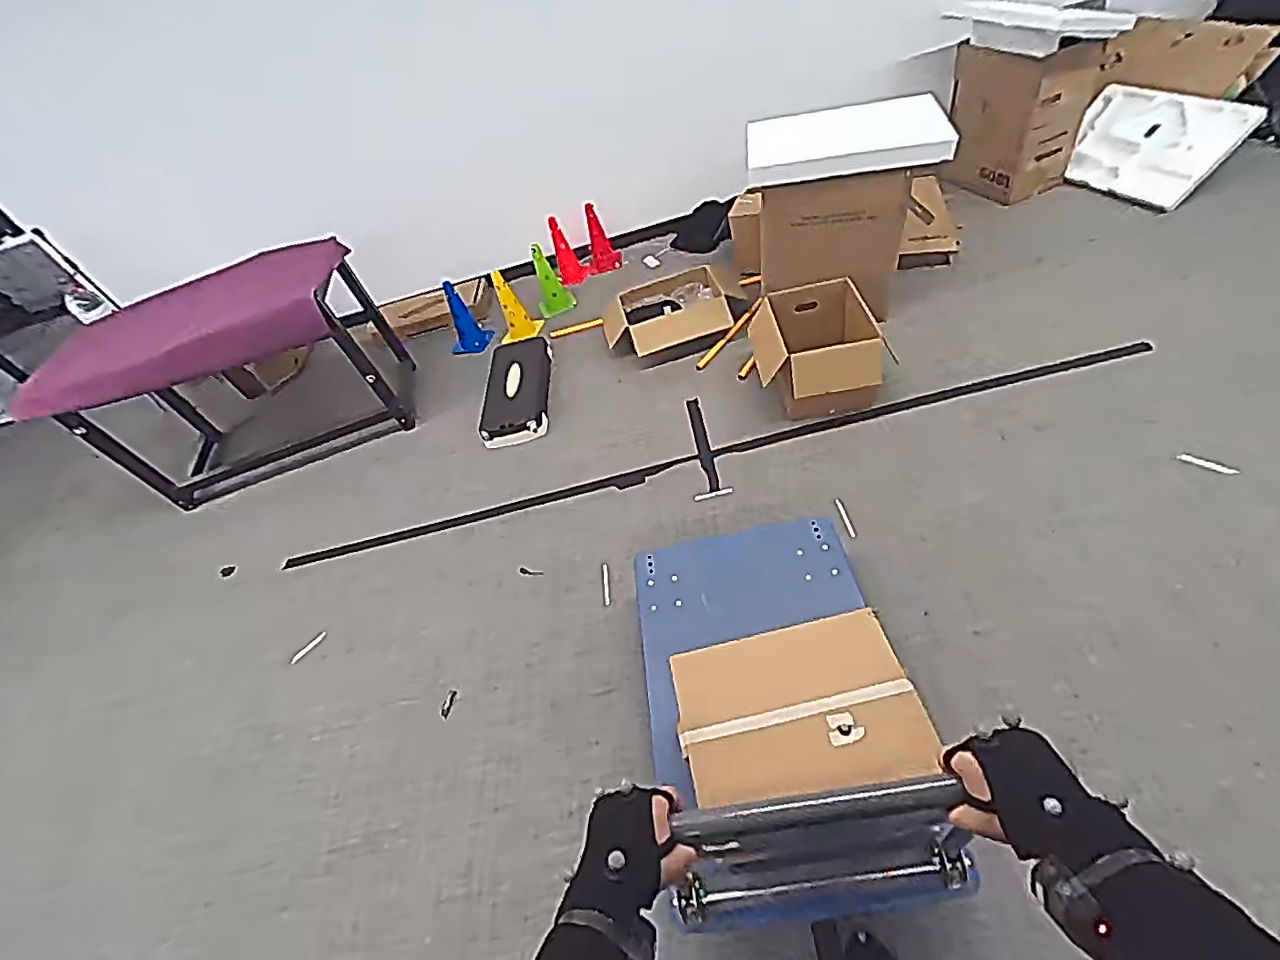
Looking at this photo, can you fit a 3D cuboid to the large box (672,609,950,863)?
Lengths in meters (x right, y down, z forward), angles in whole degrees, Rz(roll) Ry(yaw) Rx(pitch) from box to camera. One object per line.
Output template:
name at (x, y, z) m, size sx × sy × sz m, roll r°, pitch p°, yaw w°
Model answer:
large box at (0.306, 0.510, 1.067) m, size 0.408 × 0.320 × 0.320 m, roll -15°, pitch 47°, yaw 3°
